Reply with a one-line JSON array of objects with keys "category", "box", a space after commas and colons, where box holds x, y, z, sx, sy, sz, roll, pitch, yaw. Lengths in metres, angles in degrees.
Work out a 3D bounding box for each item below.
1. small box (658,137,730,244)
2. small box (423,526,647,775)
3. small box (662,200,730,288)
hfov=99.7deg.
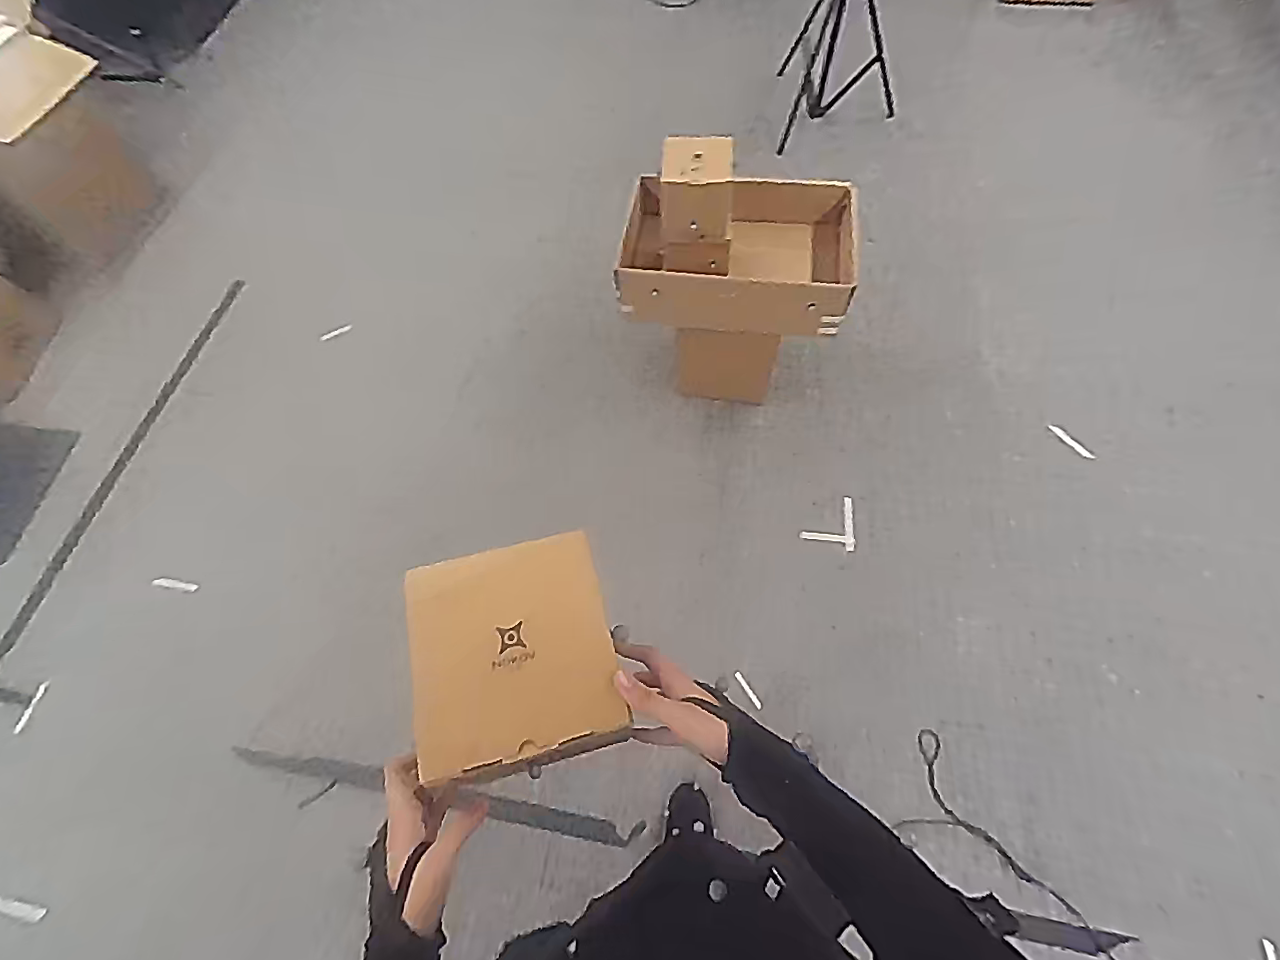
[{"category": "small box", "box": [0.132, -0.718, 1.343, 0.168, 0.176, 0.179, 3, 64, 4]}, {"category": "small box", "box": [-0.097, 0.170, 0.525, 0.168, 0.176, 0.179, -13, 64, -9]}, {"category": "small box", "box": [0.151, -0.650, 1.492, 0.179, 0.176, 0.168, 1, 64, 4]}]
